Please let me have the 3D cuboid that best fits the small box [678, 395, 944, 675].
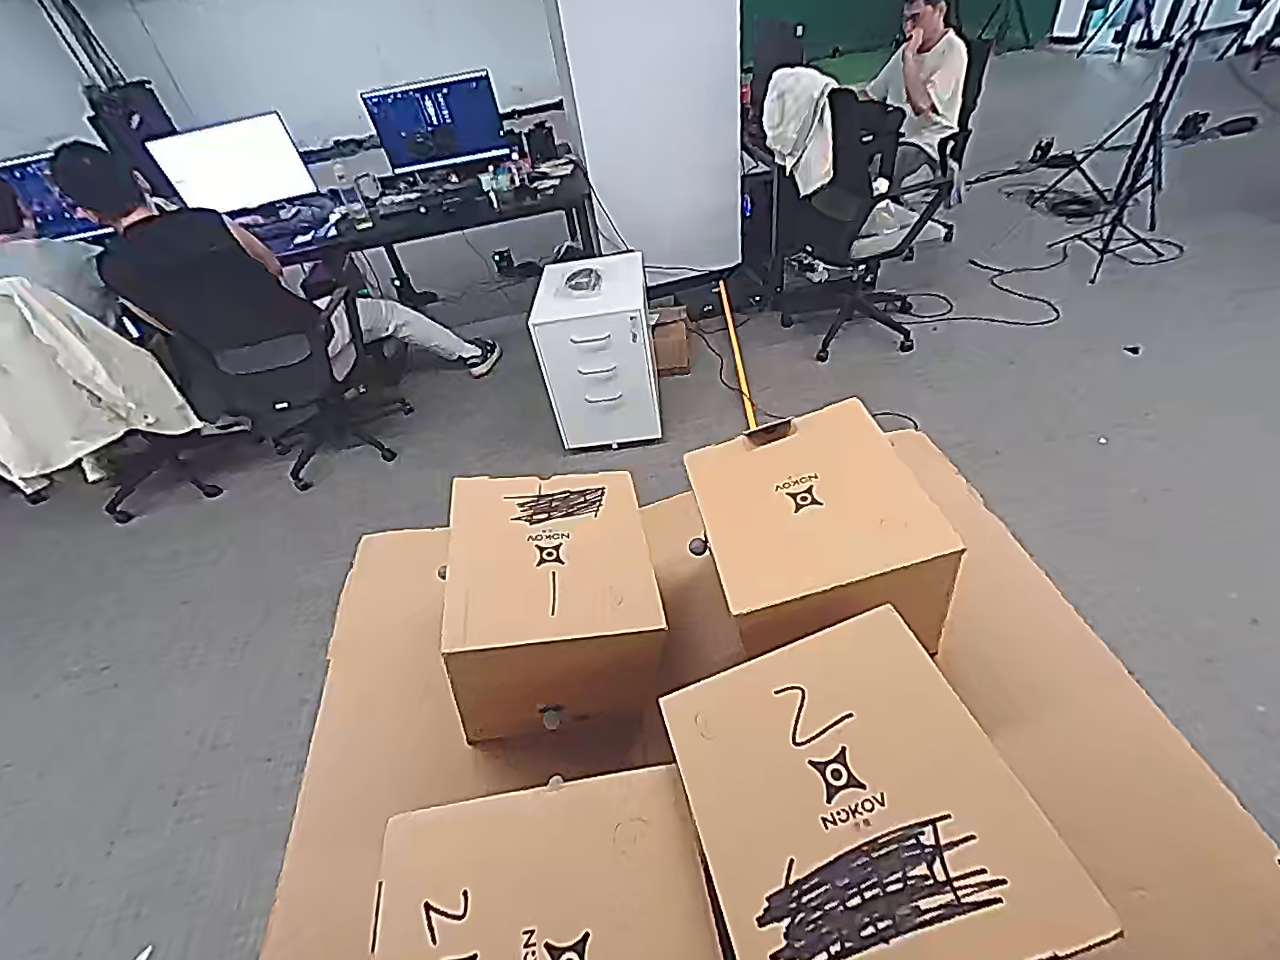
[{"bbox_3d":[0.148,0.059,0.496,0.168,0.176,0.179,-18,44,6],"label":"small box"}]
